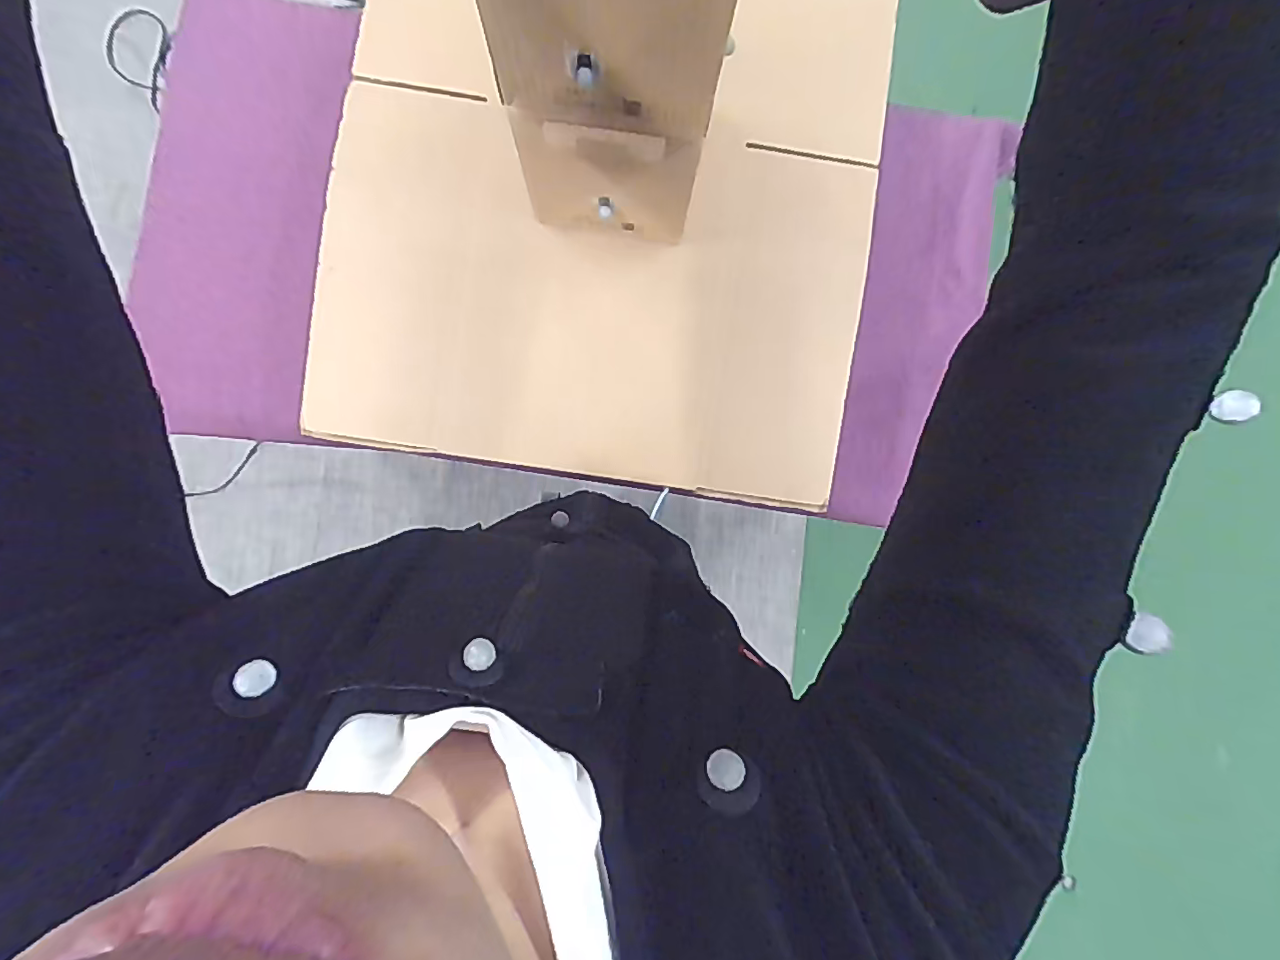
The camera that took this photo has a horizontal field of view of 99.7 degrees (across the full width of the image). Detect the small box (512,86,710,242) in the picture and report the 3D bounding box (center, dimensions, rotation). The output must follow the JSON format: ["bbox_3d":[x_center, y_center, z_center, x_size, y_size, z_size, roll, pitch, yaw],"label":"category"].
[{"bbox_3d":[-0.016,-0.368,0.528,0.168,0.176,0.179,9,86,-2],"label":"small box"}]

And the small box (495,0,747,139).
[{"bbox_3d":[-0.009,-0.380,0.365,0.168,0.176,0.179,7,86,-3],"label":"small box"}]
